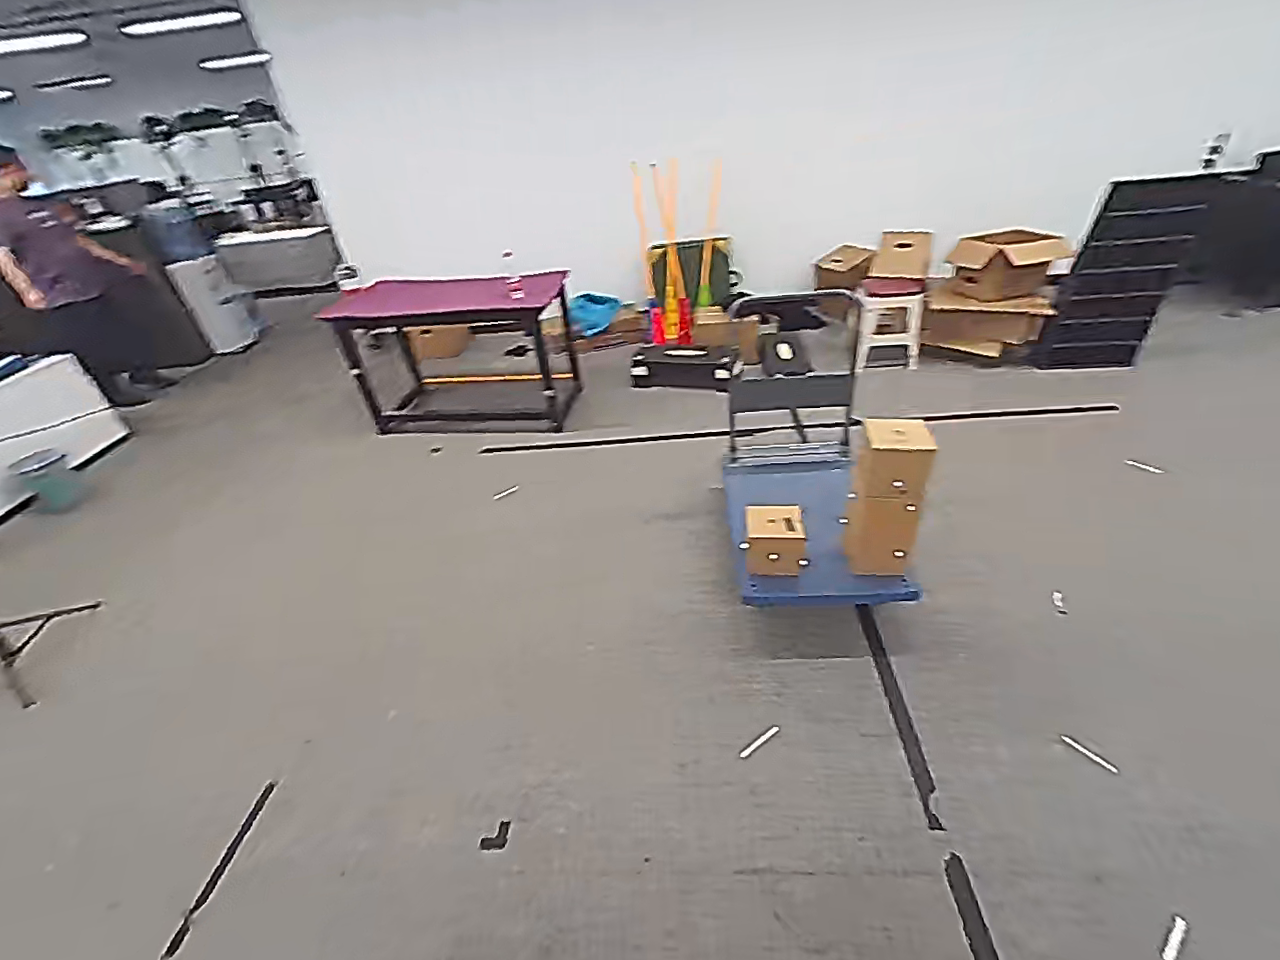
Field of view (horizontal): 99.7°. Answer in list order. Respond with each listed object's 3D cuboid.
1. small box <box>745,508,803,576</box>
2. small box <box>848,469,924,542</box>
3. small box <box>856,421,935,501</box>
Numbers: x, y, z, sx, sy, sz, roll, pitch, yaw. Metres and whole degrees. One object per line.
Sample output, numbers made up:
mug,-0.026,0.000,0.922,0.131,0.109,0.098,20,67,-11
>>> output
small box,0.448,0.211,1.828,0.179,0.176,0.168,-1,35,9
small box,0.756,0.079,1.684,0.179,0.176,0.168,1,35,9
small box,0.742,-0.058,1.592,0.168,0.176,0.179,2,36,11
